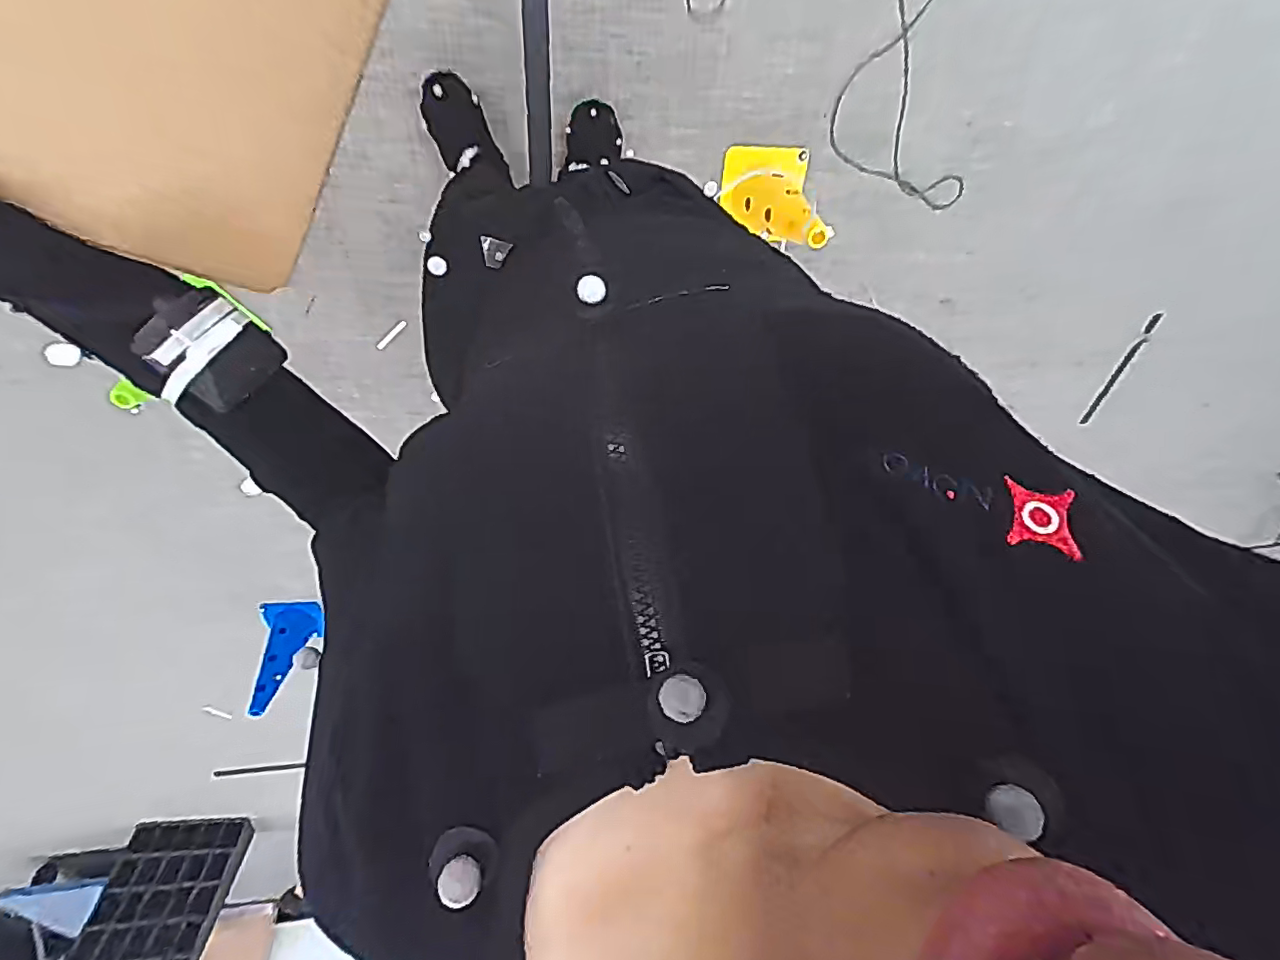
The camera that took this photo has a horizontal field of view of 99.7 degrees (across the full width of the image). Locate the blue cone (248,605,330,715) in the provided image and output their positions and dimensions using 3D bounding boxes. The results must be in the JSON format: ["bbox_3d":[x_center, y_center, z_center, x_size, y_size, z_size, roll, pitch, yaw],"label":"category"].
[{"bbox_3d":[-1.230,0.619,1.850,0.192,0.380,0.193,1,128,-9],"label":"blue cone"}]

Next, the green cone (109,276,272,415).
[{"bbox_3d":[-1.010,-0.256,1.166,0.202,0.368,0.200,-31,126,16],"label":"green cone"}]

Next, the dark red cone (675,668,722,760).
[{"bbox_3d":[0.291,1.036,2.401,0.201,0.394,0.202,3,127,-11],"label":"dark red cone"}]
